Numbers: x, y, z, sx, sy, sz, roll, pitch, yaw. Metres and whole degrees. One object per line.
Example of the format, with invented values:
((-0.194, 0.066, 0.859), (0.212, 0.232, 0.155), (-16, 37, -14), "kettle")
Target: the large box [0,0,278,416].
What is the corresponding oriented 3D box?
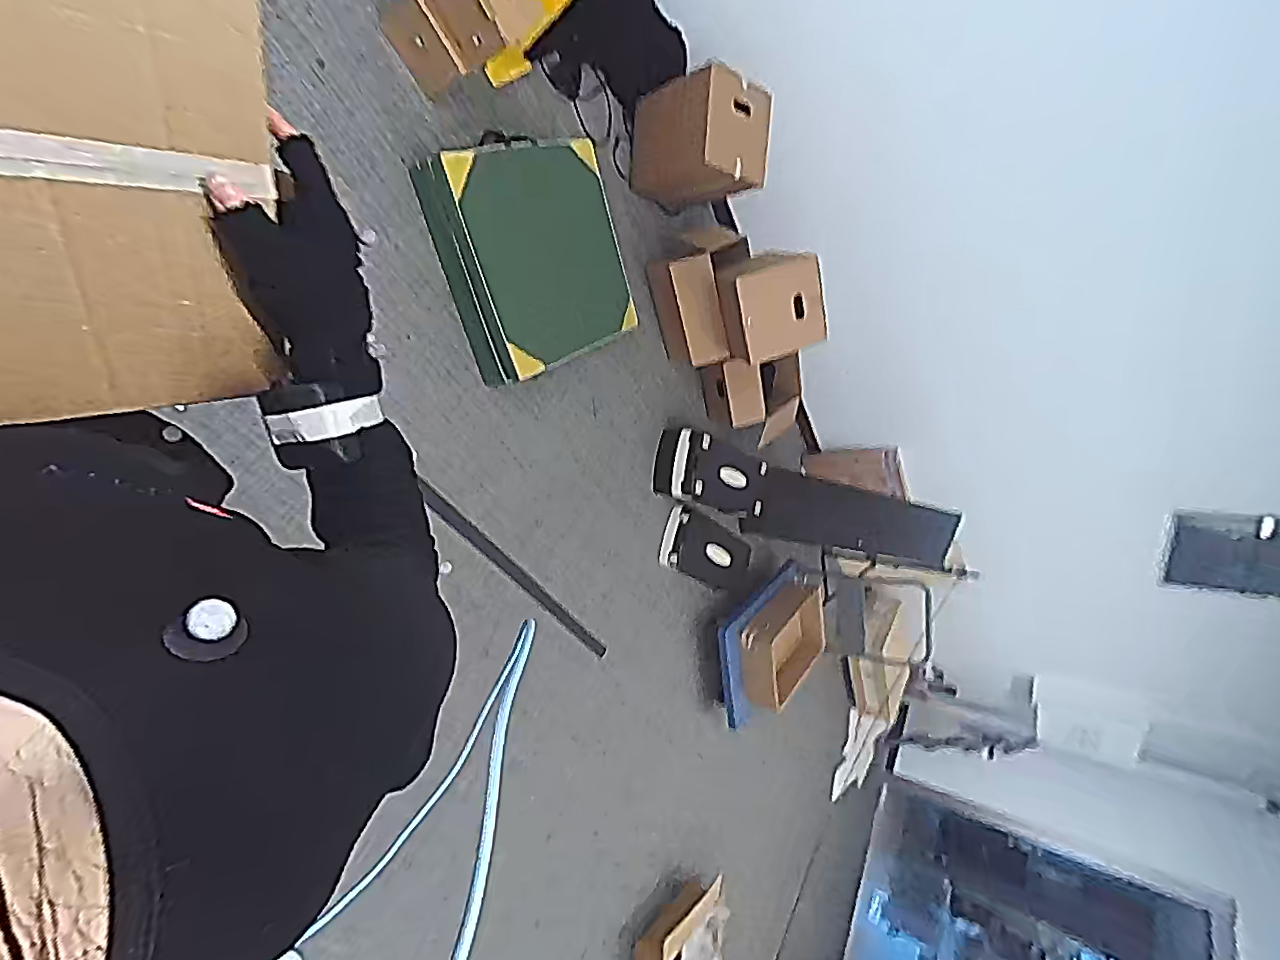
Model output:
((-0.479, -0.228, 0.266), (0.408, 0.320, 0.320), (-22, 146, -42), "large box")
